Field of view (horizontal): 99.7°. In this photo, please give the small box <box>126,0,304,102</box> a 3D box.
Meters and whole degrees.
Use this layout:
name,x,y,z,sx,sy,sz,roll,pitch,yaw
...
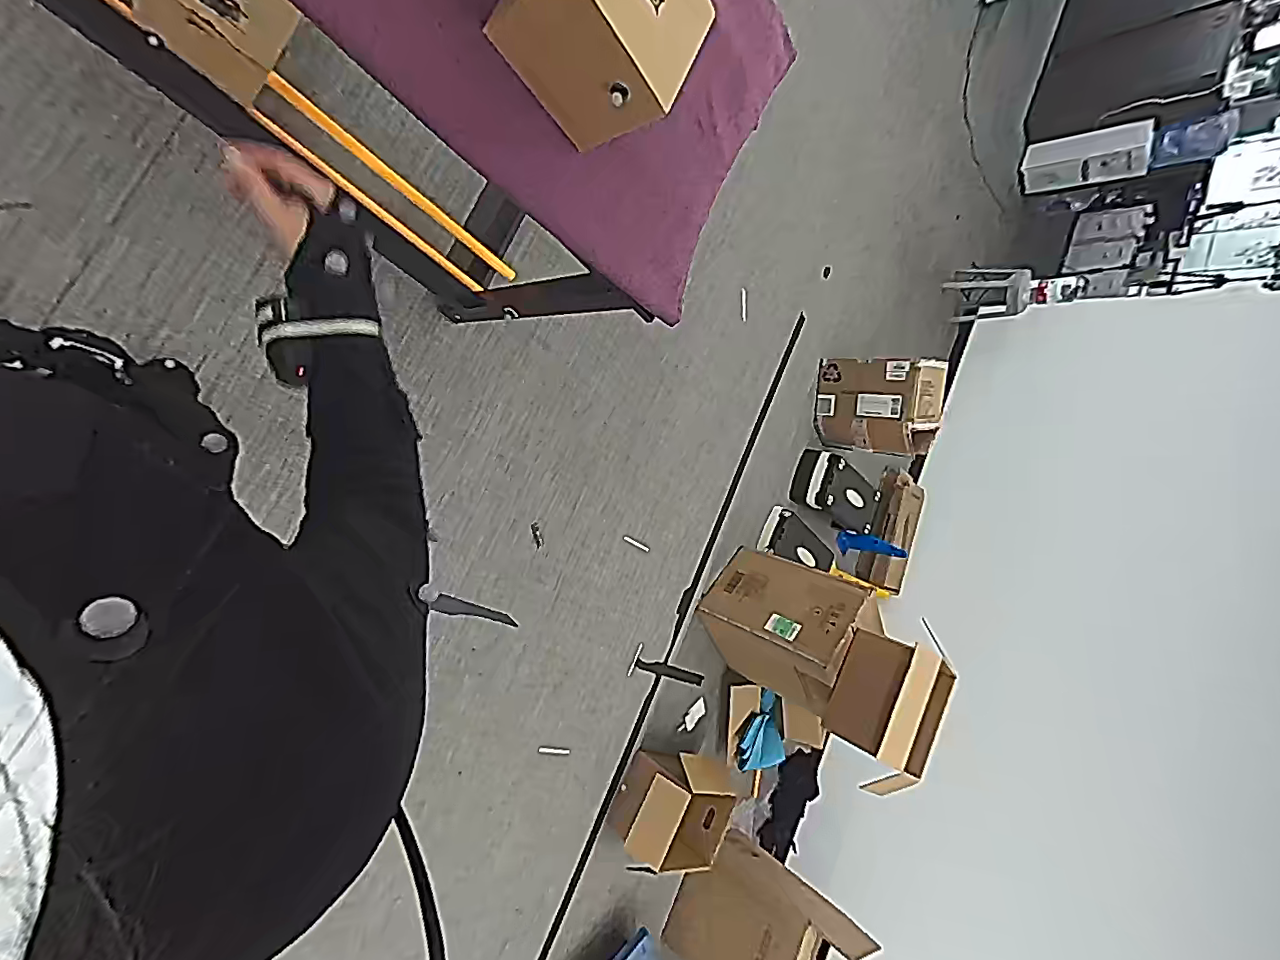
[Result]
name,x,y,z,sx,sy,sz,roll,pitch,yaw
small box,-0.677,-0.758,0.863,0.168,0.176,0.179,32,71,-45
